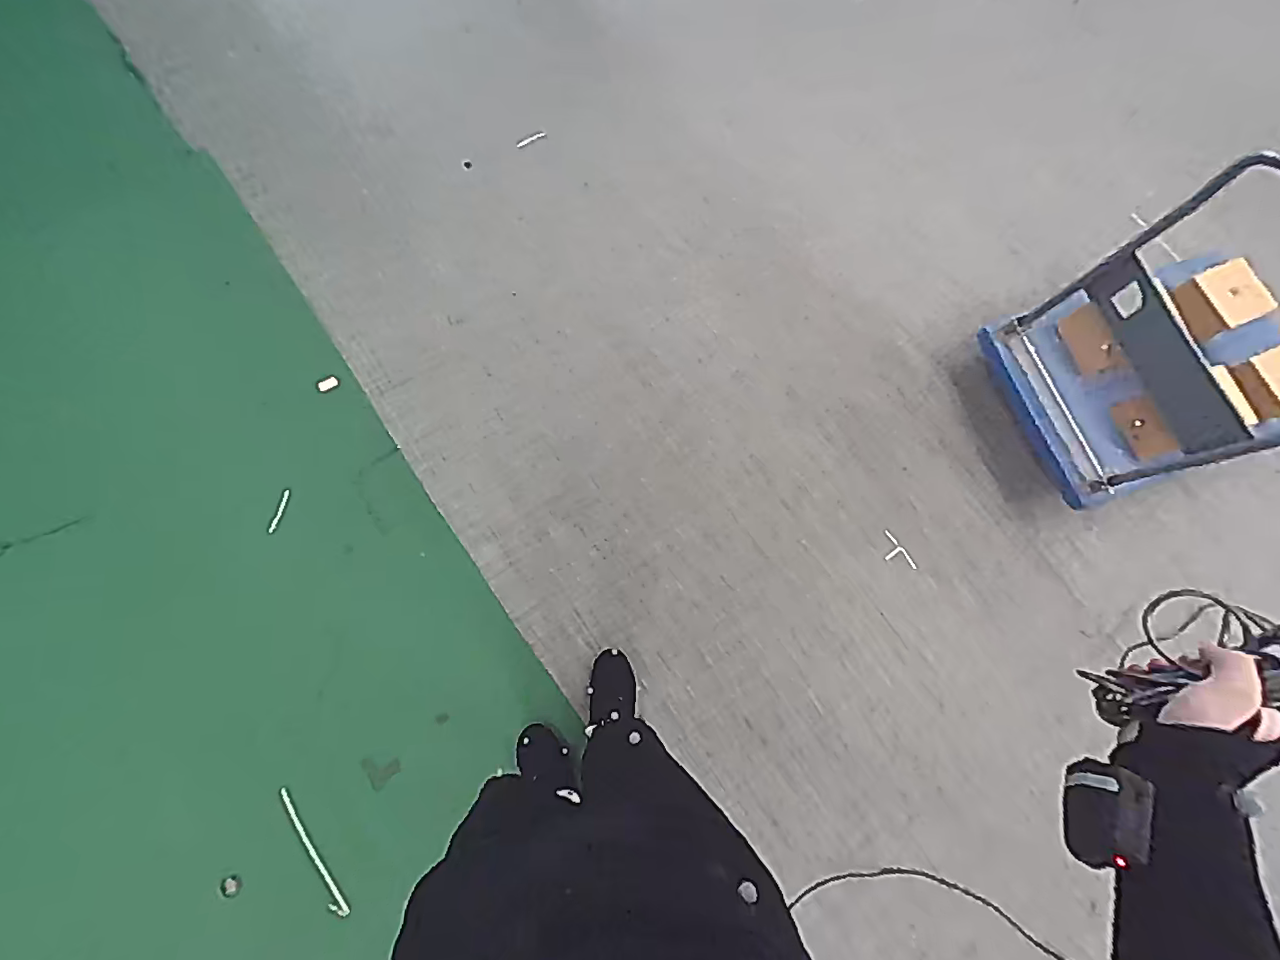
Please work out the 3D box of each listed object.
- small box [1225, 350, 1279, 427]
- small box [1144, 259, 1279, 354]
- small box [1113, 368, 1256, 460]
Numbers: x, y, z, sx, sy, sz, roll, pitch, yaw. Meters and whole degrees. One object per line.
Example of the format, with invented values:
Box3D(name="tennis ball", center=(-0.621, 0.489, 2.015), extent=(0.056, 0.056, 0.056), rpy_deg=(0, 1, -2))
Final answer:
Box3D(name="small box", center=(1.664, -0.241, 1.454), extent=(0.179, 0.176, 0.168), rpy_deg=(-20, 78, -8))
Box3D(name="small box", center=(1.573, -0.475, 1.507), extent=(0.179, 0.176, 0.168), rpy_deg=(-21, 79, -9))
Box3D(name="small box", center=(1.418, -0.169, 1.421), extent=(0.179, 0.176, 0.168), rpy_deg=(-17, 78, -8))
